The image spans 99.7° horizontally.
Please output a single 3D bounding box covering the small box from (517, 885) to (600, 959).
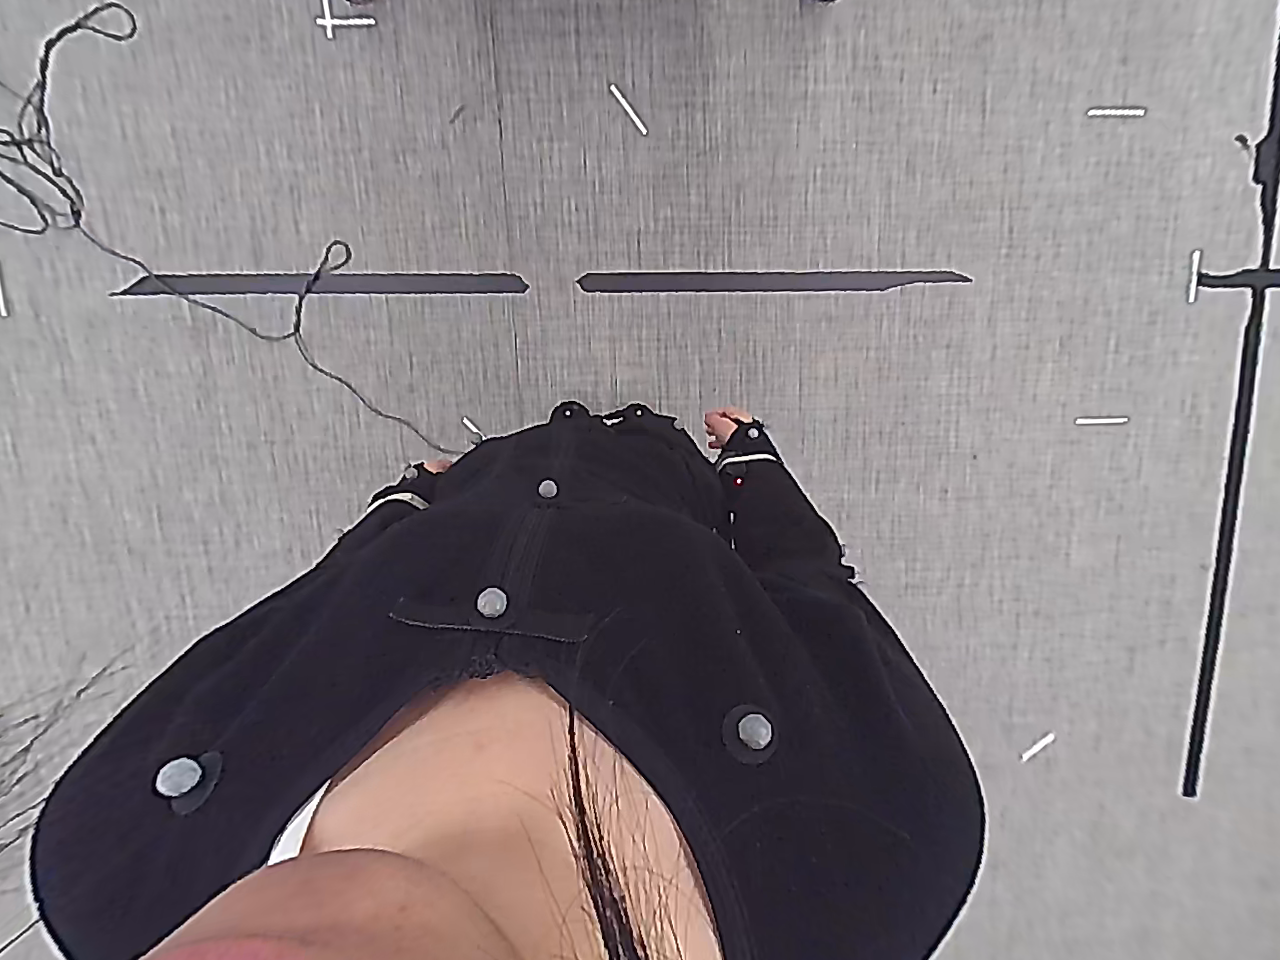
[{"bbox_3d":[-0.183,1.094,1.268,0.179,0.176,0.168,-3,97,-1],"label":"small box"}]
